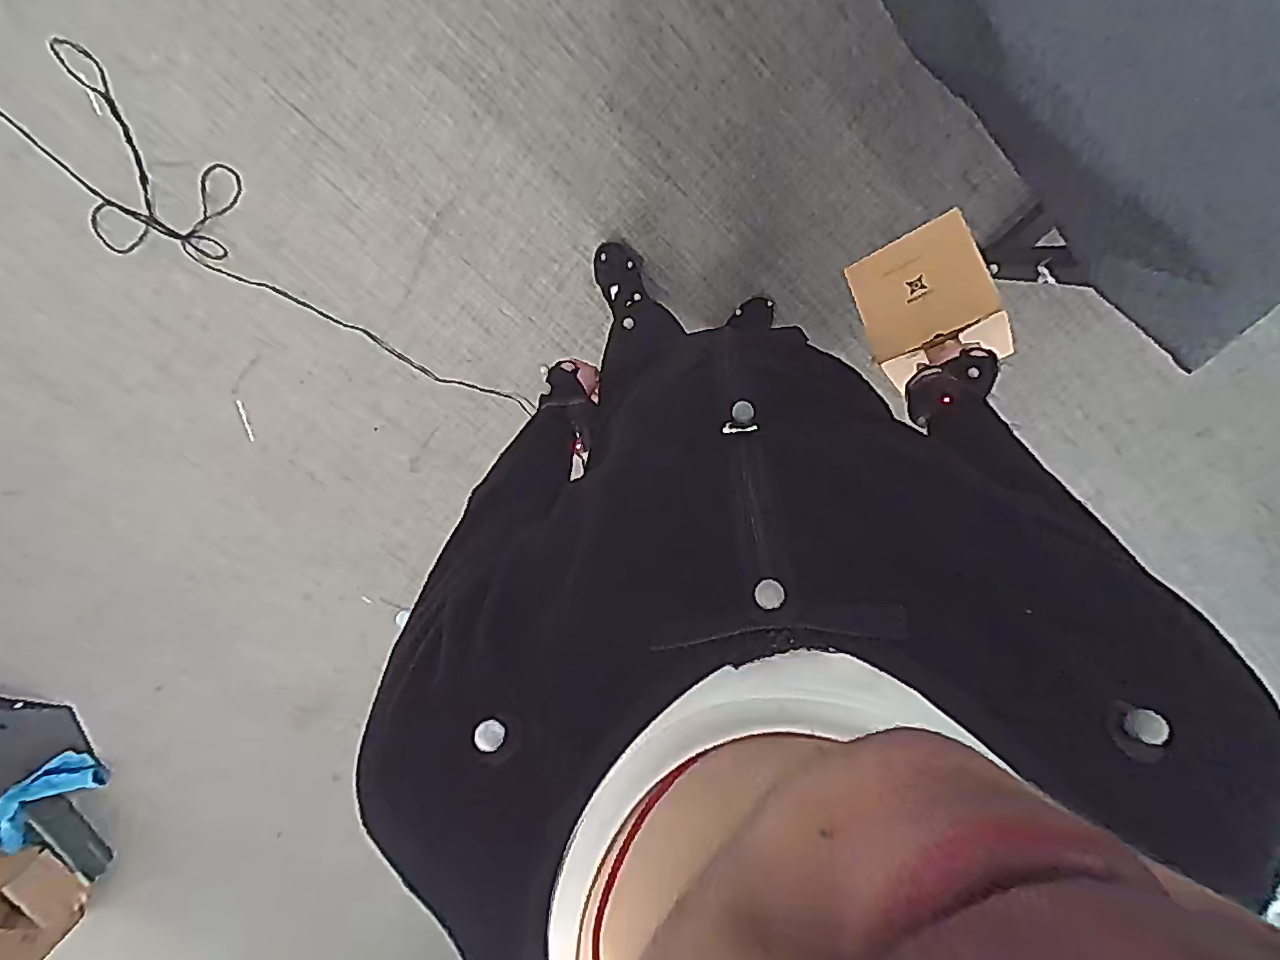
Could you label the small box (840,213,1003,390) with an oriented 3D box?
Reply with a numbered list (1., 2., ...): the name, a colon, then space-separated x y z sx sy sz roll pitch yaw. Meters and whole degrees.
1. small box: 0.435 -0.256 0.831 0.168 0.176 0.179 -23 66 30
